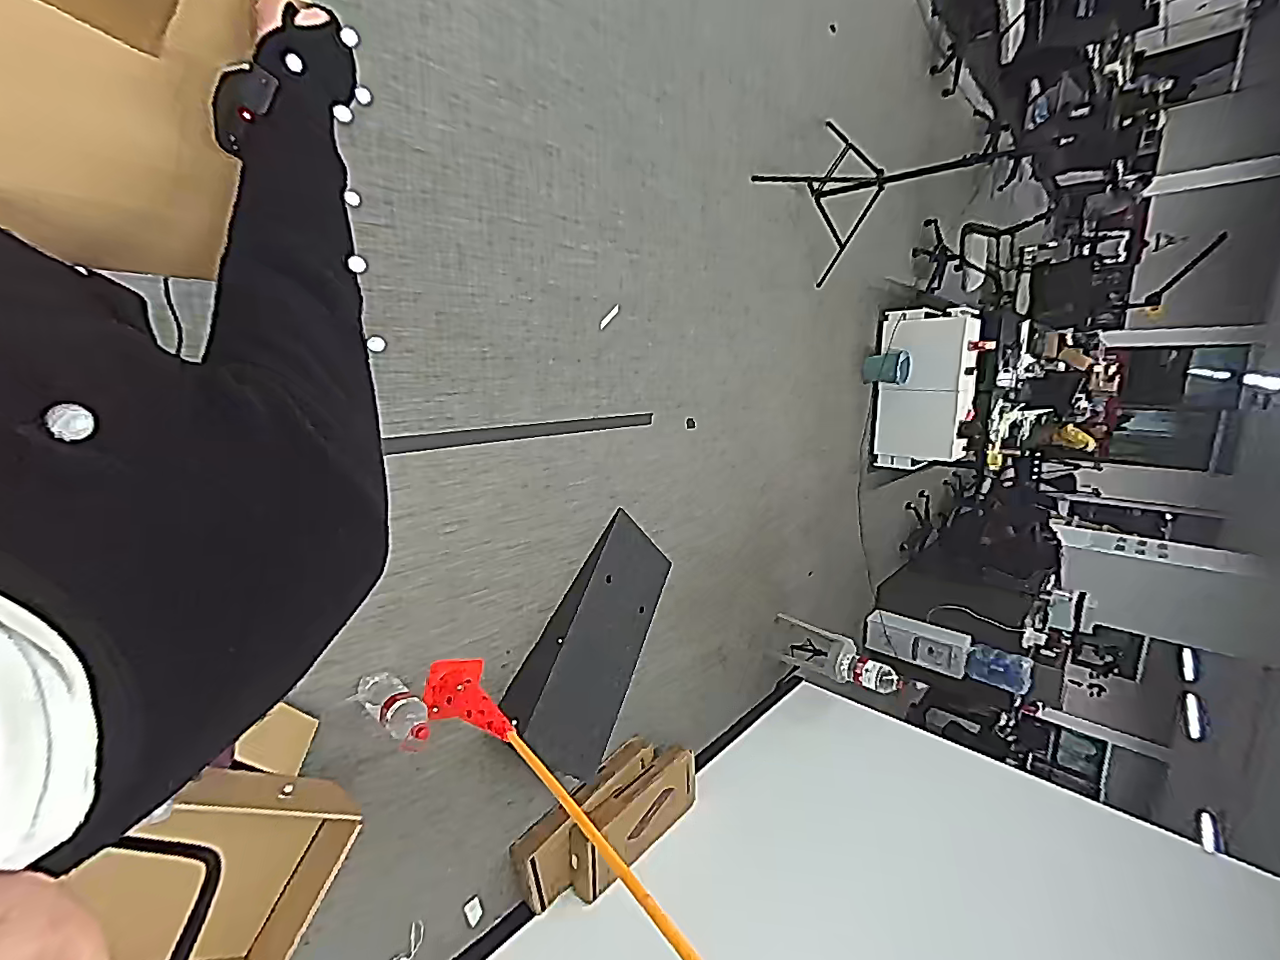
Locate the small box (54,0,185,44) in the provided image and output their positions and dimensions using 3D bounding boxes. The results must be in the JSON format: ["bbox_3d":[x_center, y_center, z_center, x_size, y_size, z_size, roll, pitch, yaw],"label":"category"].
[{"bbox_3d":[-0.398,-0.439,0.352,0.179,0.176,0.168,8,96,-48],"label":"small box"}]
